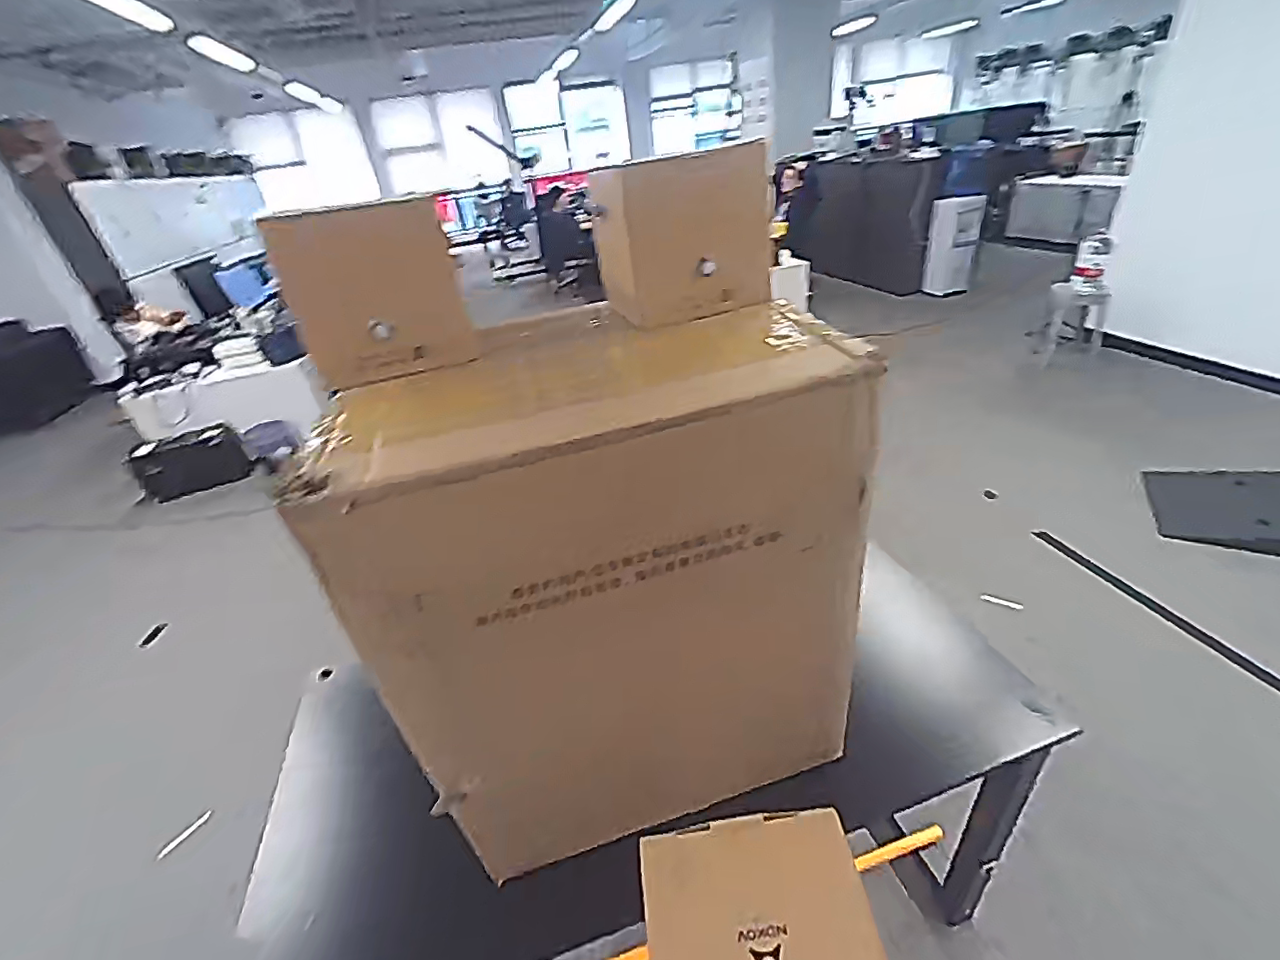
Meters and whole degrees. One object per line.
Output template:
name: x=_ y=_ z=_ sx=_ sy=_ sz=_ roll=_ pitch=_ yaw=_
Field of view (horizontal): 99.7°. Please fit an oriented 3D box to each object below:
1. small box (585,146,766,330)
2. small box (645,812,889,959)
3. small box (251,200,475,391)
small box: x=0.041 y=-0.293 z=0.660 sx=0.168 sy=0.176 sz=0.179 roll=-17 pitch=31 yaw=-10
small box: x=0.097 y=0.398 z=0.426 sx=0.168 sy=0.176 sz=0.179 roll=-8 pitch=38 yaw=0
small box: x=-0.297 y=-0.214 z=0.615 sx=0.168 sy=0.176 sz=0.179 roll=-17 pitch=32 yaw=-16
